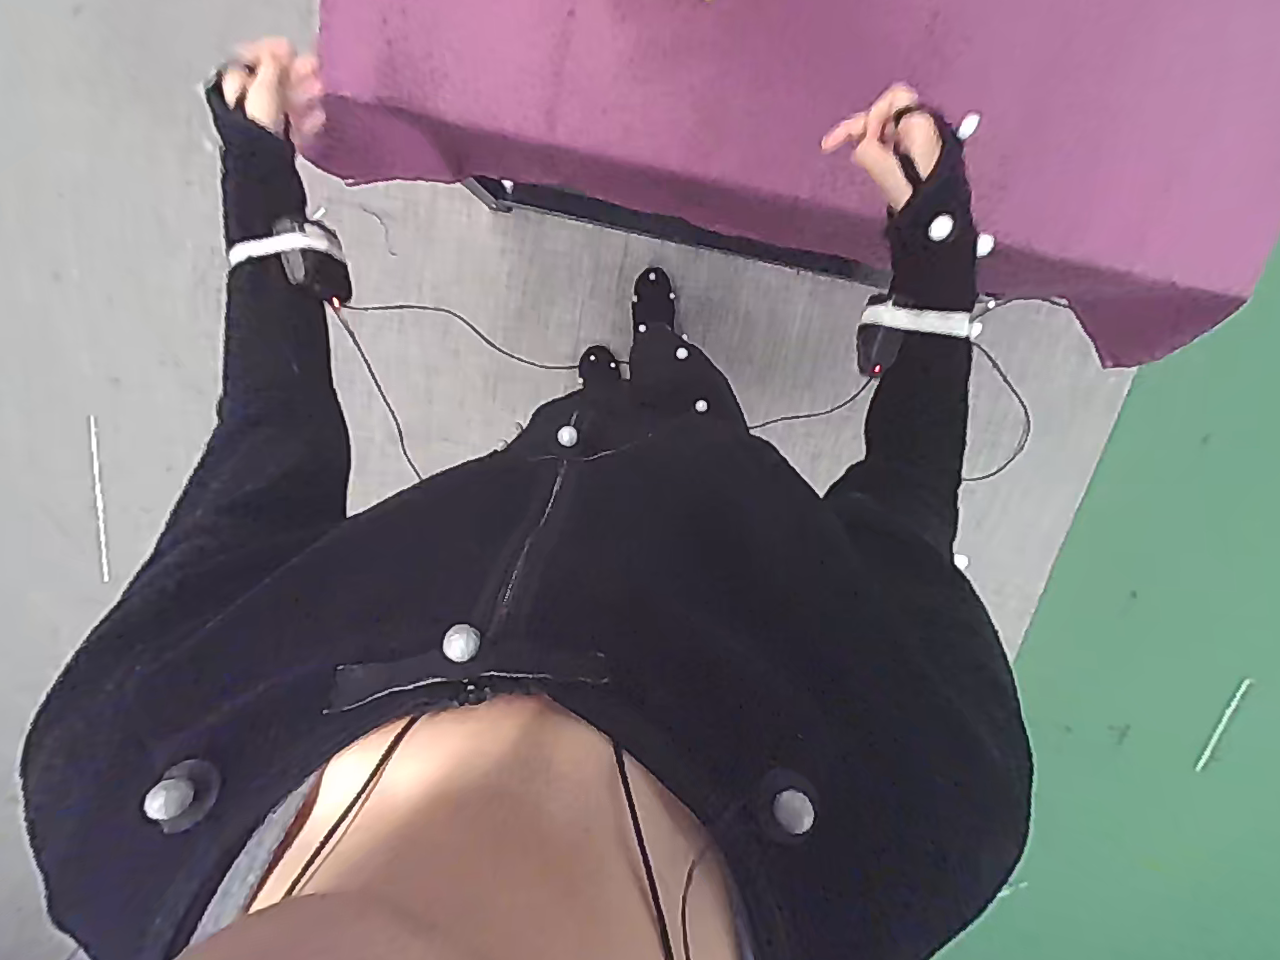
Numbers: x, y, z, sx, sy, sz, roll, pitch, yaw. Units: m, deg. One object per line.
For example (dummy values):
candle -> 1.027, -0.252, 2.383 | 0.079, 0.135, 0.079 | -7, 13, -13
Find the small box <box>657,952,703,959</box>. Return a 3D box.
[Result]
small box -> 0.136, 1.820, 1.912 | 0.179, 0.176, 0.168 | 6, 104, -4
